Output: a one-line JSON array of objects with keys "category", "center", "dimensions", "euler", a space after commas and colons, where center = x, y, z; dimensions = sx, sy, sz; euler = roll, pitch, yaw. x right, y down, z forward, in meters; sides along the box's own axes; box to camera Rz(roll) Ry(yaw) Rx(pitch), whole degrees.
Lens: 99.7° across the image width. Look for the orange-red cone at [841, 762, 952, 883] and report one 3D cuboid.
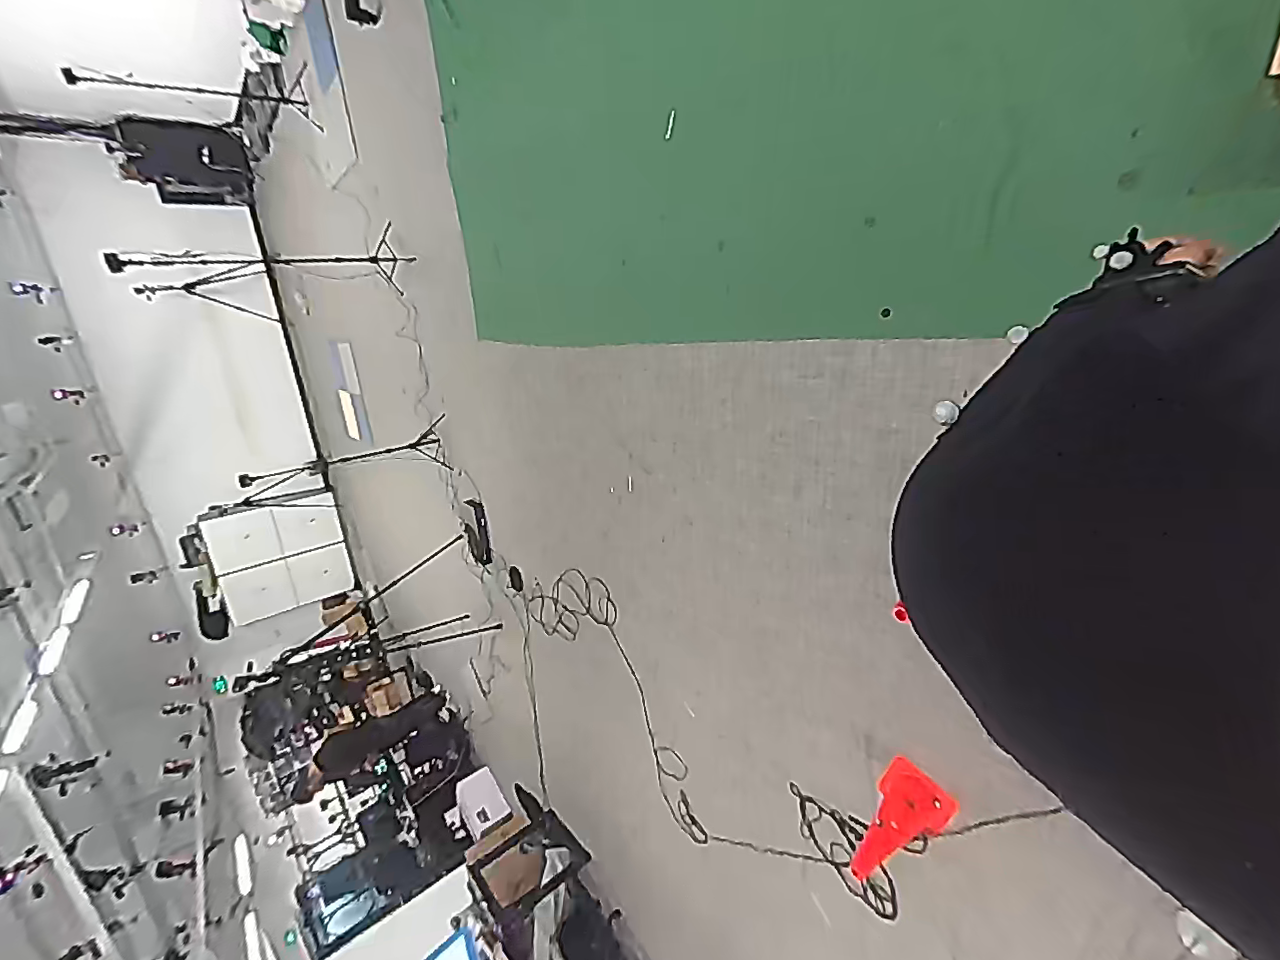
[{"category": "orange-red cone", "center": [0.689, 1.022, 1.549], "dimensions": [0.199, 0.360, 0.198], "euler": [41, 132, 38]}]
